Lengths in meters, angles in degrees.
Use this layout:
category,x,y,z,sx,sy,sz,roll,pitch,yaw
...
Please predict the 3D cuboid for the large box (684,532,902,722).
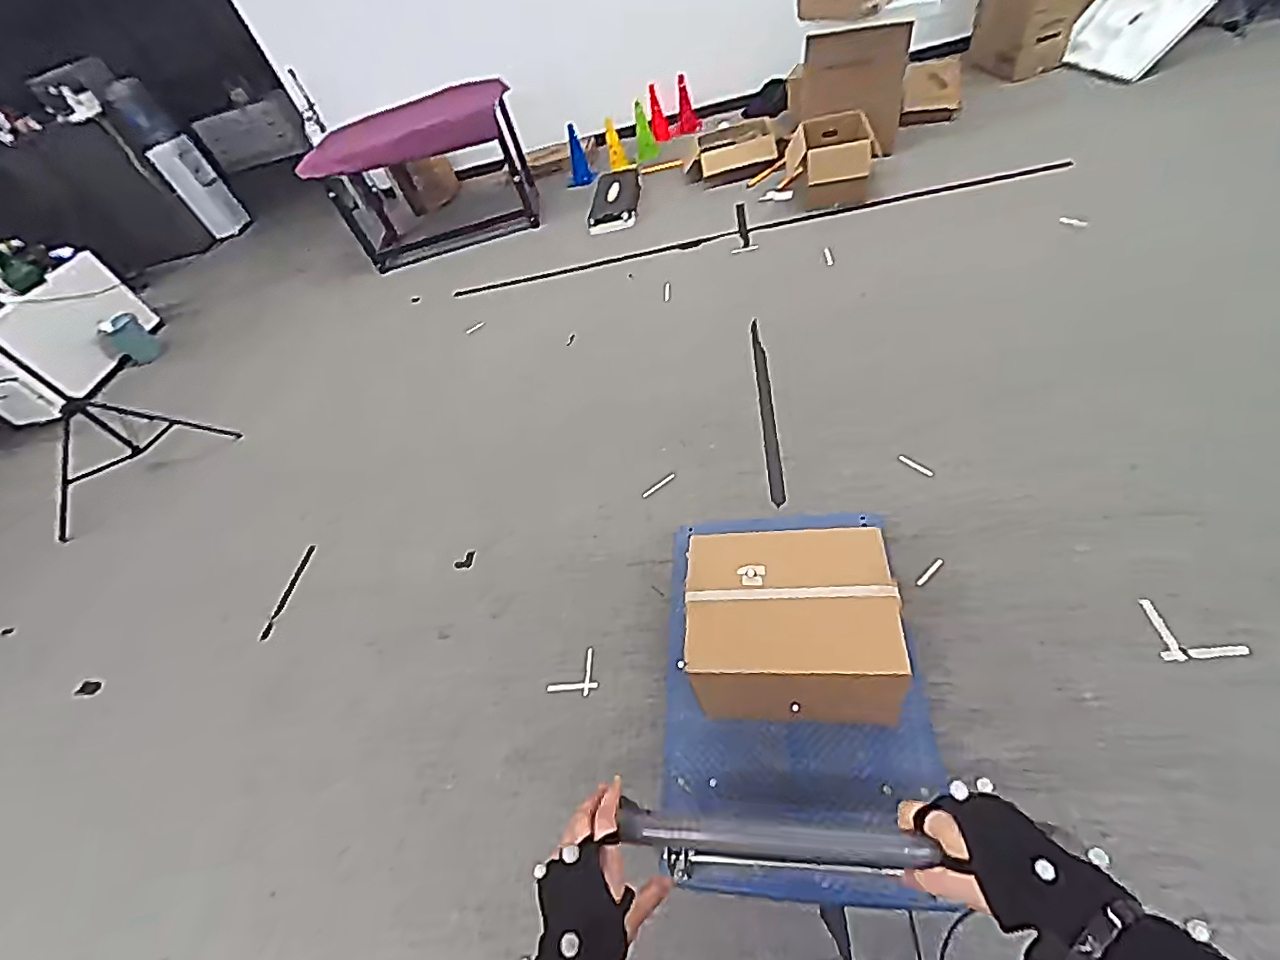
category,x,y,z,sx,sy,sz,roll,pitch,yaw
large box,0.329,0.343,1.215,0.408,0.320,0.320,-6,49,14
